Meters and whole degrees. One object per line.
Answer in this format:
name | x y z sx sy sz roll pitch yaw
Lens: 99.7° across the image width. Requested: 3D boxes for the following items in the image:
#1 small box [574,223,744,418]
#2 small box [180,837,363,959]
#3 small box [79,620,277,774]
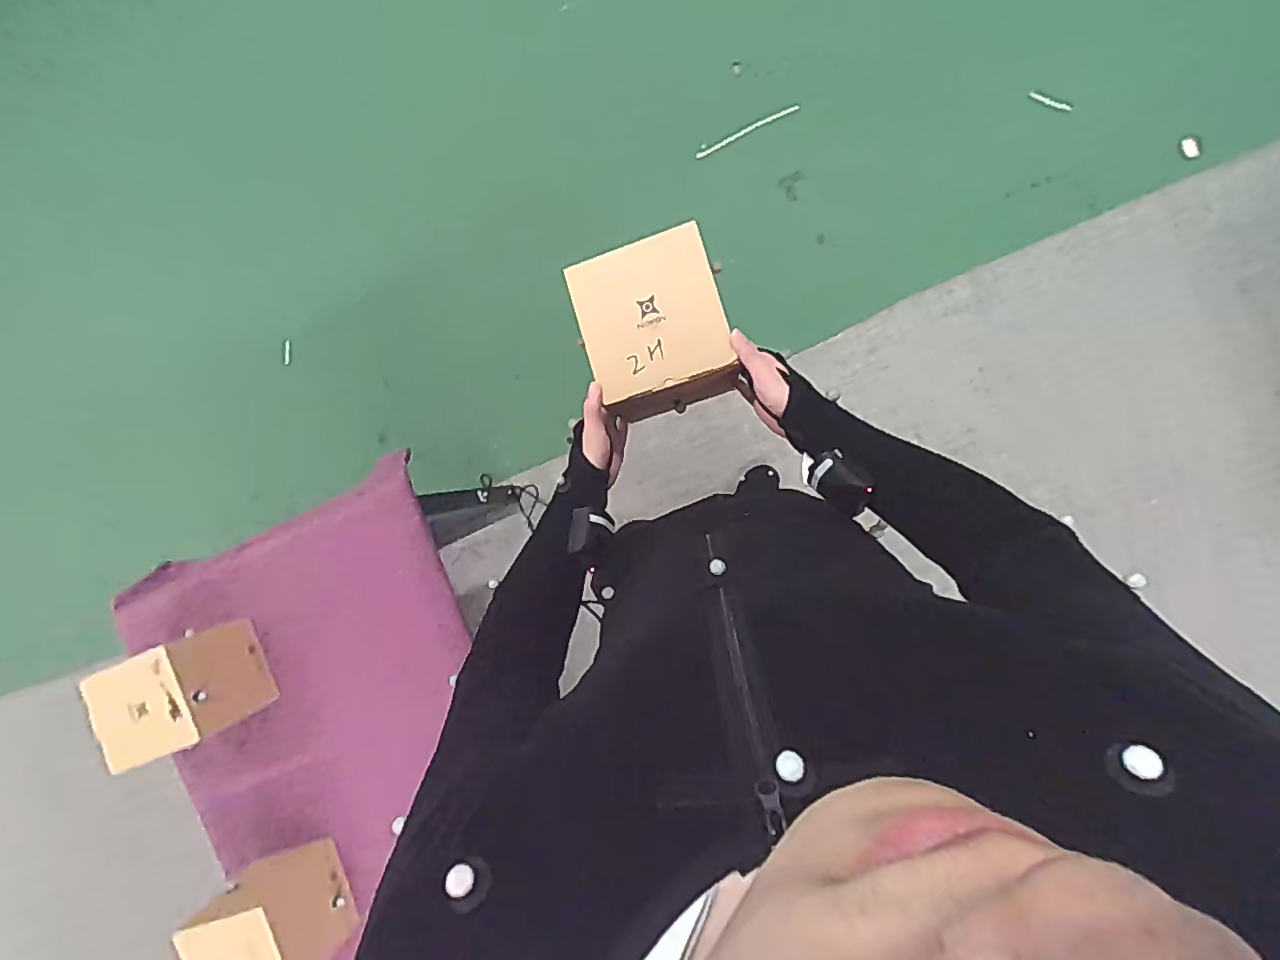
small box | 0.030 -0.191 0.703 0.168 0.176 0.179 -16 88 8
small box | -0.632 0.774 0.946 0.179 0.176 0.168 -21 91 6
small box | -0.792 0.368 0.944 0.179 0.176 0.168 -23 91 7
